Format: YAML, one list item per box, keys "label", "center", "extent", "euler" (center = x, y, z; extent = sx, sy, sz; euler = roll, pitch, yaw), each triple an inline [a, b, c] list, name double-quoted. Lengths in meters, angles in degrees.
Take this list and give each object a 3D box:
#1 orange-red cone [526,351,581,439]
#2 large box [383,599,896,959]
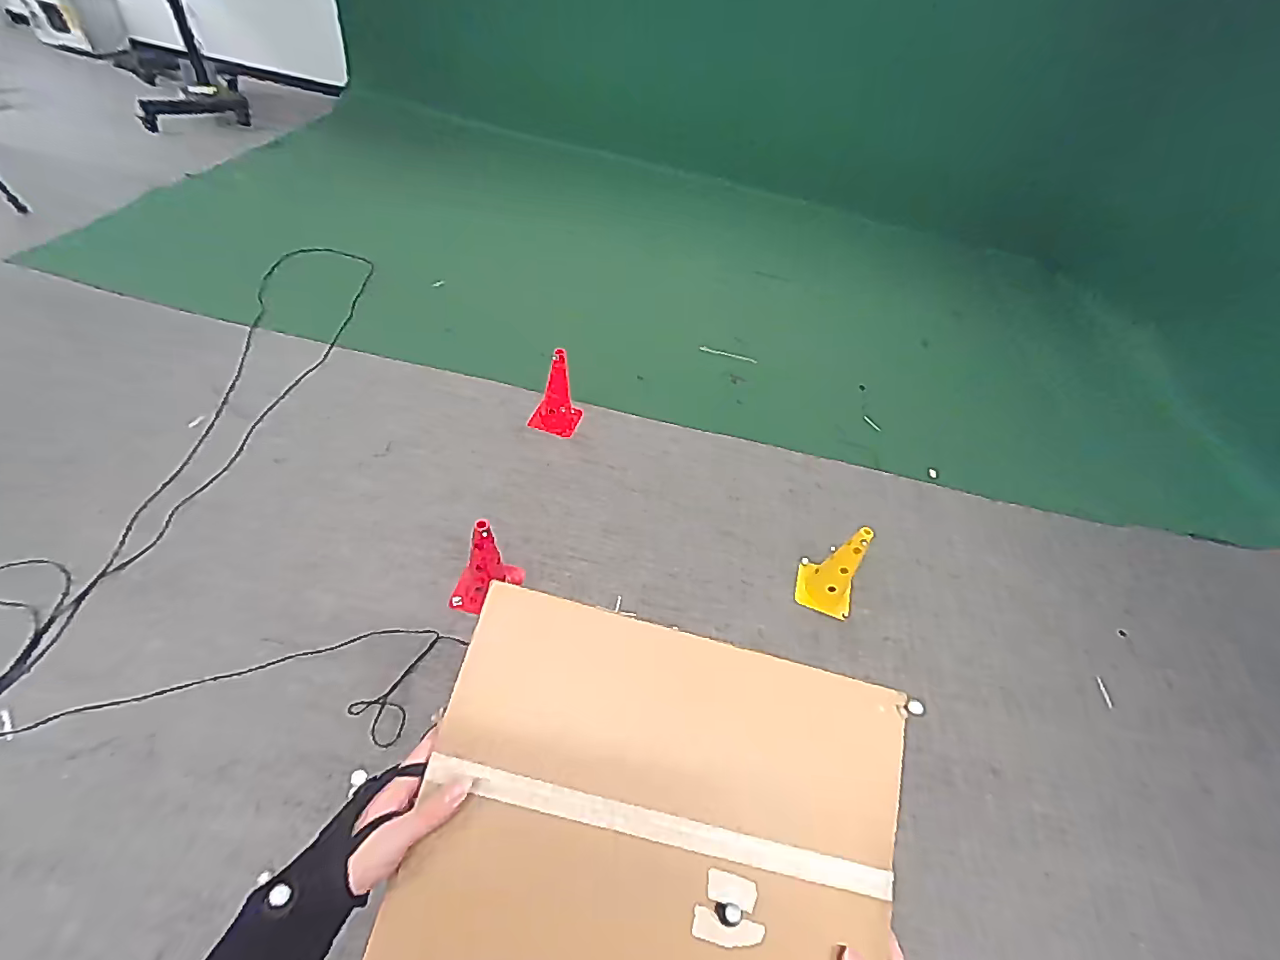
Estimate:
- label: "orange-red cone"
  center: [-0.350, -0.375, 2.241]
  extent: [0.199, 0.360, 0.198]
  euler: [17, 46, 6]
- label: "large box"
  center: [0.004, 0.344, 0.602]
  extent: [0.408, 0.320, 0.320]
  euler: [15, 71, -2]
